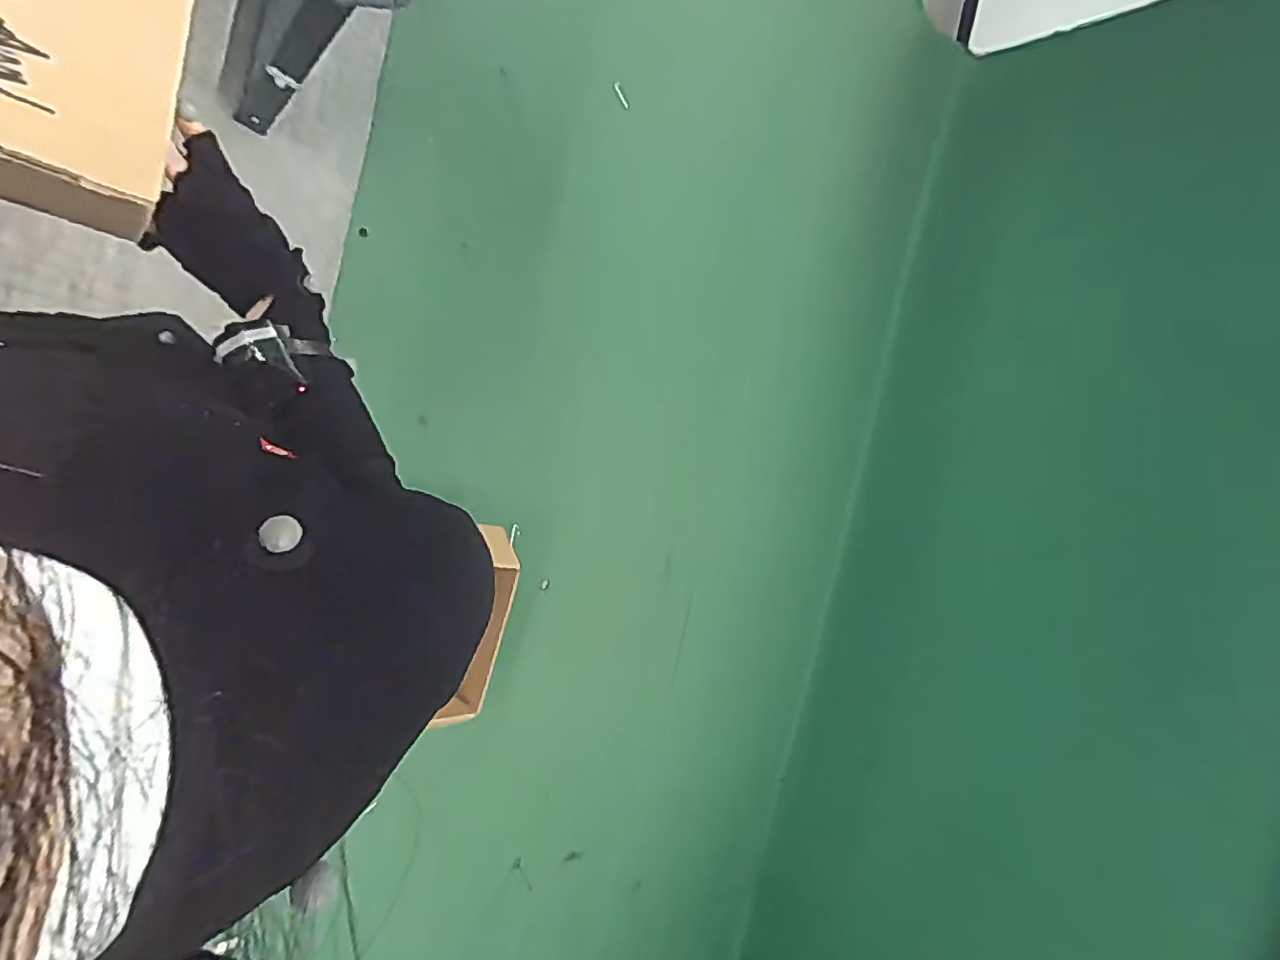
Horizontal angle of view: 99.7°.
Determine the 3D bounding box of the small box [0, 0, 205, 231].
[{"bbox_3d":[-0.375,-0.269,0.313,0.168,0.176,0.179,10,93,-48],"label":"small box"}]
